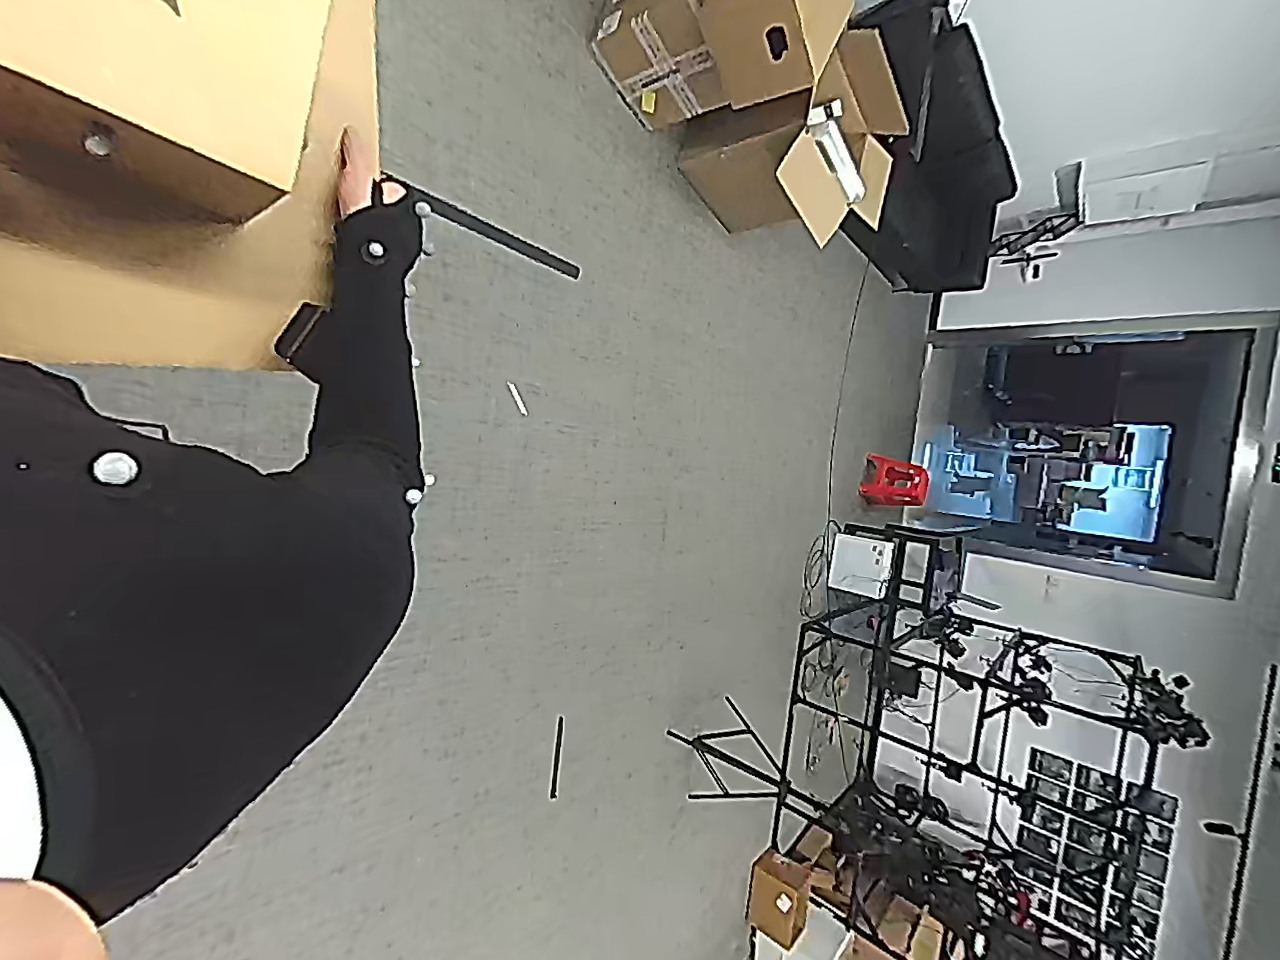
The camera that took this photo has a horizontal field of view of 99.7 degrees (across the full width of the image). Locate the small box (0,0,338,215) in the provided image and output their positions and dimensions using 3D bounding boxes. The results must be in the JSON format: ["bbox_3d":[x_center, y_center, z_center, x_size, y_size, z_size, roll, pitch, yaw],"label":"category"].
[{"bbox_3d":[-0.346,-0.309,0.382,0.179,0.176,0.168,11,94,-45],"label":"small box"}]
